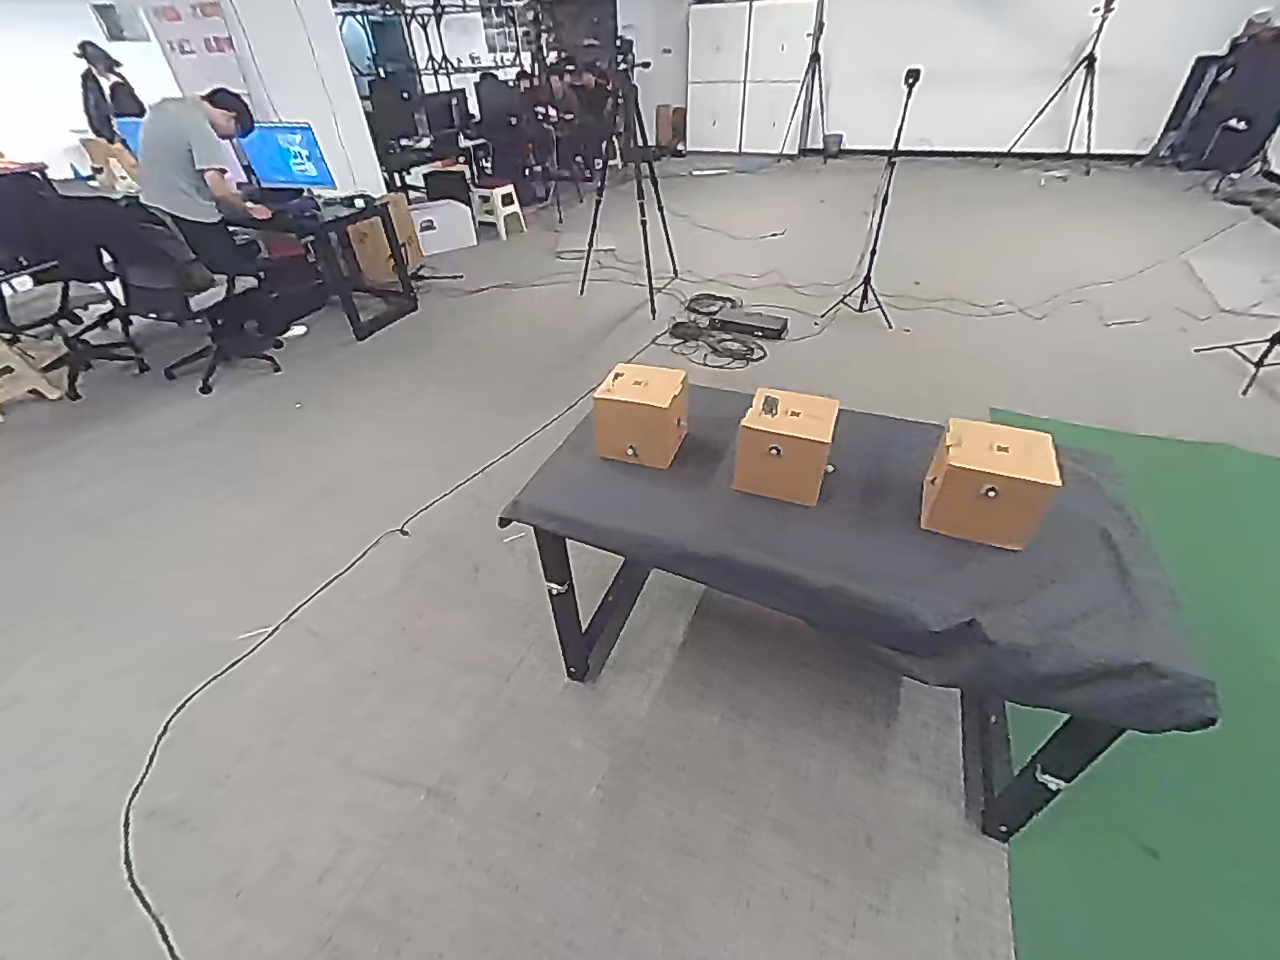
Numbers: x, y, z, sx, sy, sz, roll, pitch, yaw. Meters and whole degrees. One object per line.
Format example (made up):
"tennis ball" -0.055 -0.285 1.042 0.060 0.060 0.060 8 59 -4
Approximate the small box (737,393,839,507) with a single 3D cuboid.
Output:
"small box" 0.313 -0.064 1.161 0.179 0.176 0.168 14 41 18

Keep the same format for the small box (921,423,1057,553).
"small box" 0.661 0.016 1.046 0.179 0.176 0.168 15 43 19

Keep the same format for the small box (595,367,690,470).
"small box" 0.010 -0.143 1.276 0.179 0.176 0.168 12 41 16
